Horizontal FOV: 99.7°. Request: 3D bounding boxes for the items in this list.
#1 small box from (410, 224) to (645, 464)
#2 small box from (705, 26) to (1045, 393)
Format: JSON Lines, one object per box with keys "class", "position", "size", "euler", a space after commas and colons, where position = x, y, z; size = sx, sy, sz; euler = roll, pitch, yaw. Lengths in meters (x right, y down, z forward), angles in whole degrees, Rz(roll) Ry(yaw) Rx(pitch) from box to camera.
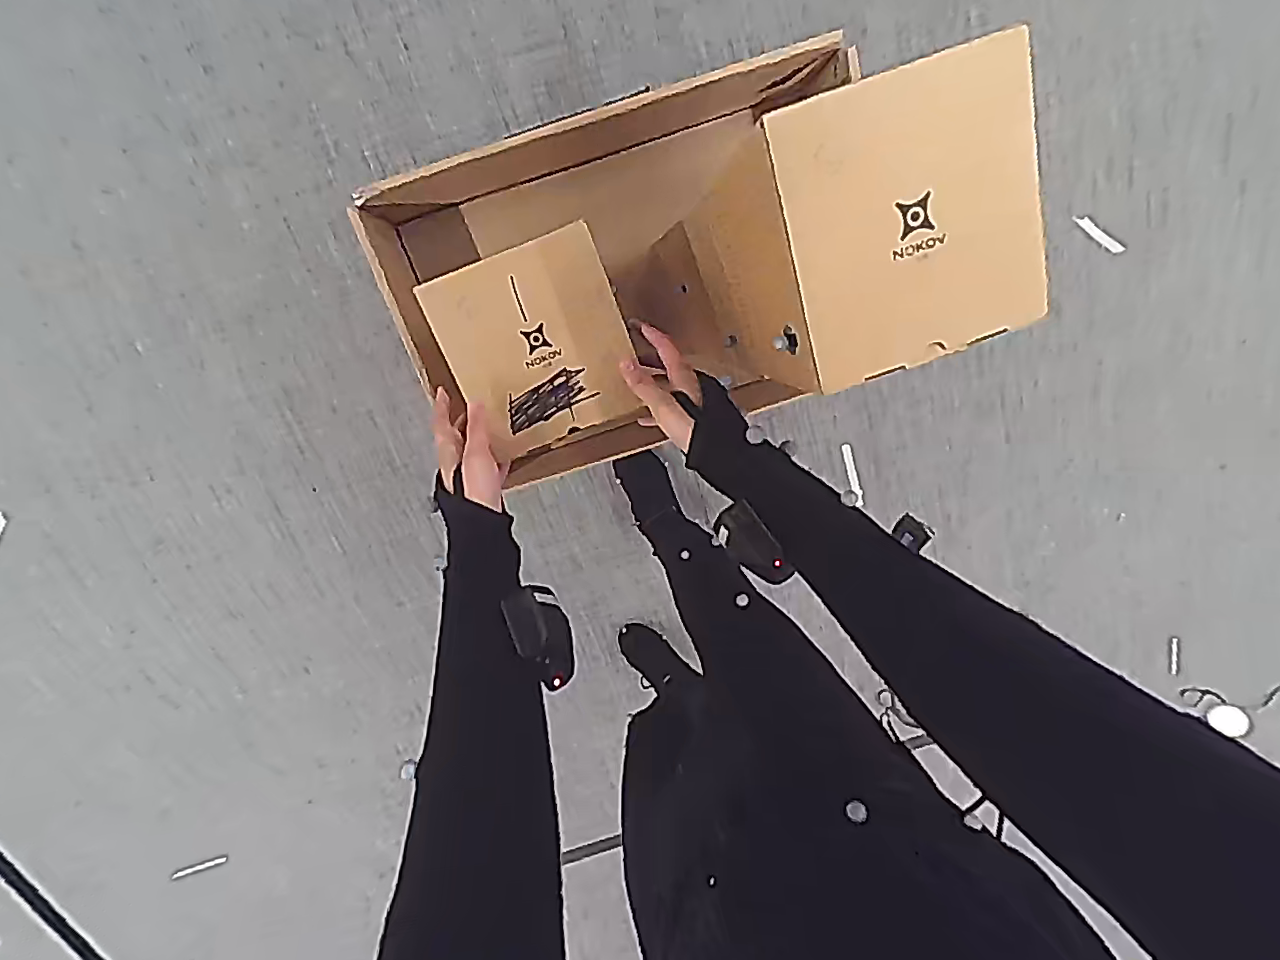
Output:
{"class": "small box", "position": [-0.103, -0.141, 0.571], "size": [0.168, 0.176, 0.179], "euler": [-22, 106, 1]}
{"class": "small box", "position": [0.161, -0.184, 0.413], "size": [0.168, 0.176, 0.179], "euler": [-20, 109, 0]}
